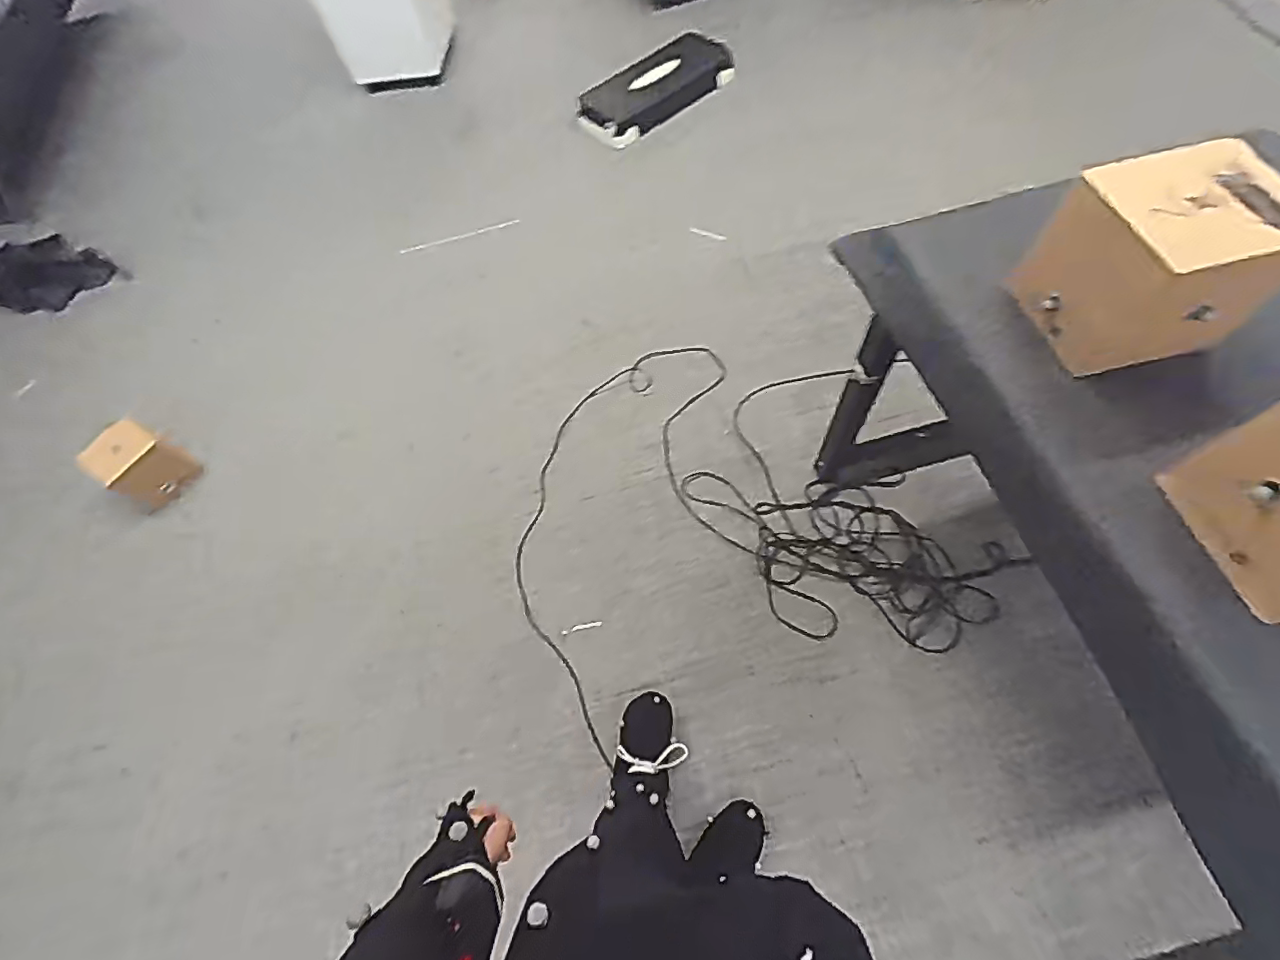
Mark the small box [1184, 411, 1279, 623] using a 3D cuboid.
[{"bbox_3d":[0.658,0.019,0.480,0.179,0.176,0.168,-12,62,-1],"label":"small box"}]

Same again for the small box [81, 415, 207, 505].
[{"bbox_3d":[-1.423,-0.051,1.563,0.179,0.176,0.168,29,71,18],"label":"small box"}]
